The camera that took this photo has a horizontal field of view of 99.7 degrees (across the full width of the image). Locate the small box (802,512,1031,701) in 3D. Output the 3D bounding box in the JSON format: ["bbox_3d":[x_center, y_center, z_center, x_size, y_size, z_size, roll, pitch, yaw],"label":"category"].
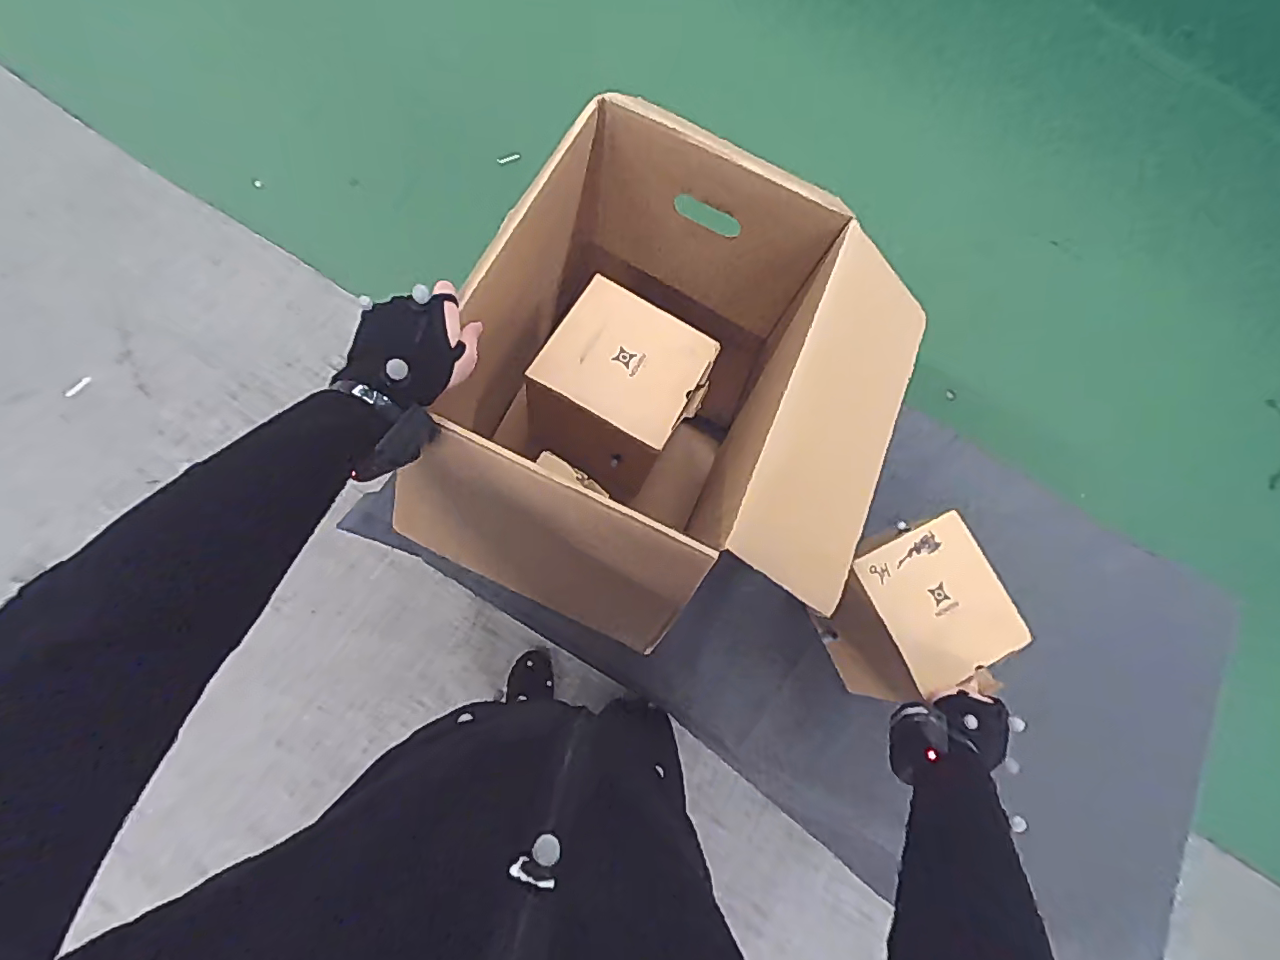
[{"bbox_3d":[0.346,0.161,0.712,0.168,0.176,0.179,-21,79,-12],"label":"small box"}]
